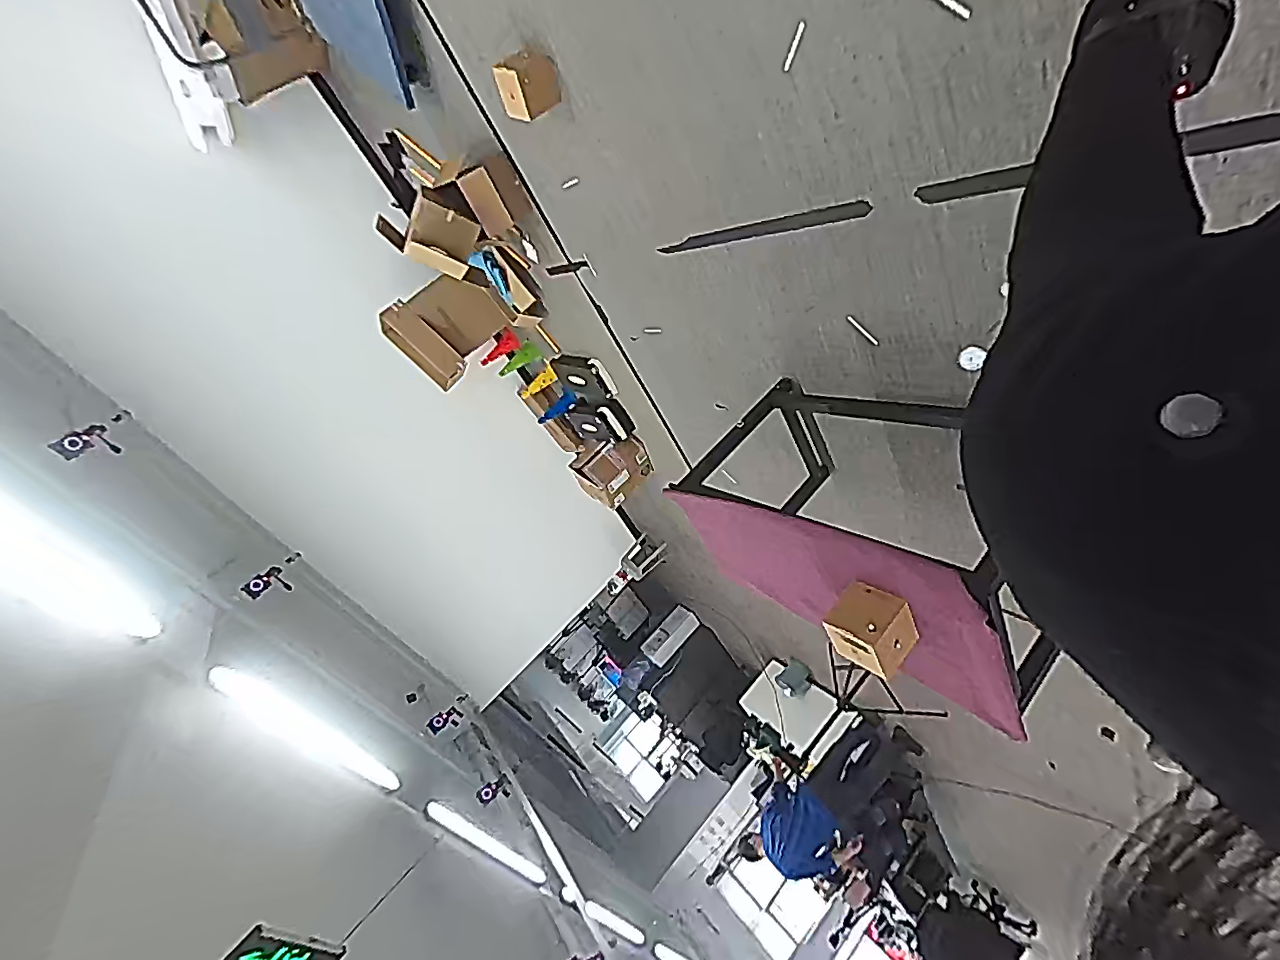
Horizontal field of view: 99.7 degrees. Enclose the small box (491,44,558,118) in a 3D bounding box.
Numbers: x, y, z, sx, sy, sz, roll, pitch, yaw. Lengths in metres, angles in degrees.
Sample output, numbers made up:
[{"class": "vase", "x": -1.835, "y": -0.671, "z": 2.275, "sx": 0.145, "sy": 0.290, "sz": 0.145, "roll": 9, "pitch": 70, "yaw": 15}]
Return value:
[{"class": "small box", "x": -0.450, "y": -1.583, "z": 2.144, "sx": 0.168, "sy": 0.176, "sz": 0.179, "roll": 36, "pitch": 160, "yaw": 31}]
